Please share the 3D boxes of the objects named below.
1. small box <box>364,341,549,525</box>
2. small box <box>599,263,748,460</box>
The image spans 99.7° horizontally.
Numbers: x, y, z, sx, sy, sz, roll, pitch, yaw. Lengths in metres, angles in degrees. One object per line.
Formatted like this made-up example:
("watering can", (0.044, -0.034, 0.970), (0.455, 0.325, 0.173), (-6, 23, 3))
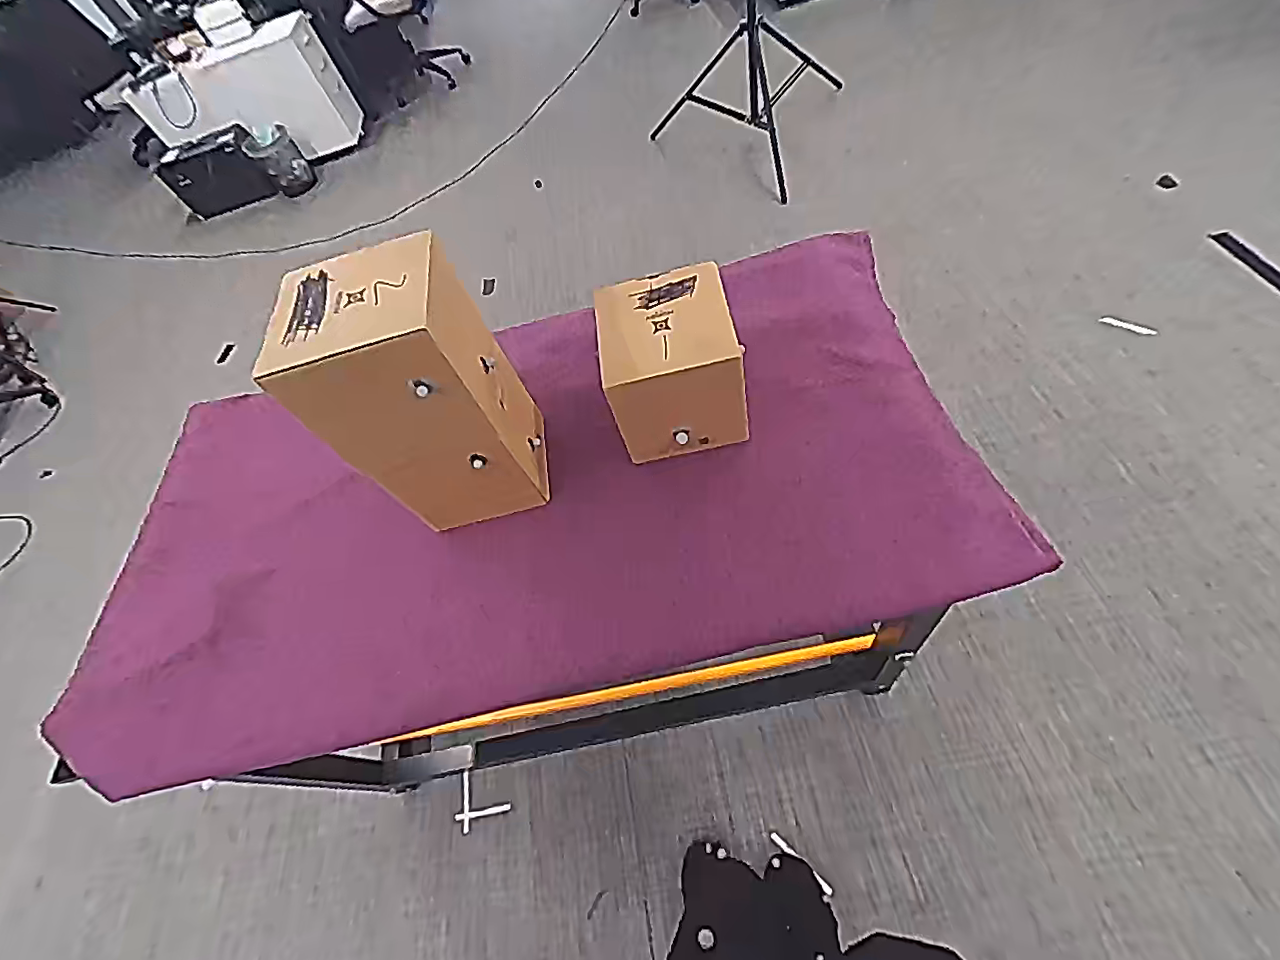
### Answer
("small box", (-0.240, -0.056, 0.746), (0.179, 0.176, 0.168), (-14, 56, 5))
("small box", (0.047, -0.153, 0.729), (0.168, 0.176, 0.179), (-12, 57, 8))
